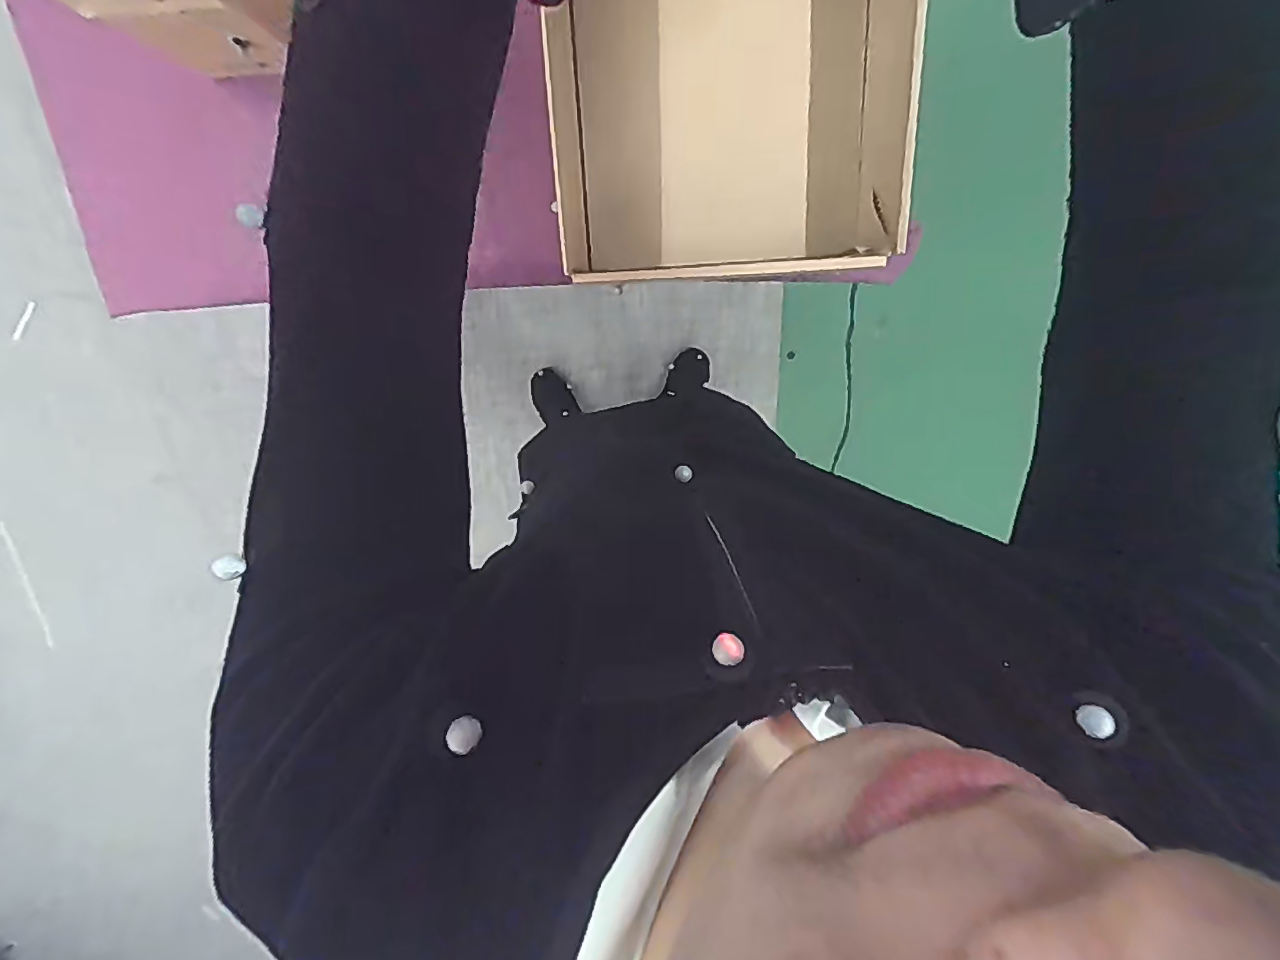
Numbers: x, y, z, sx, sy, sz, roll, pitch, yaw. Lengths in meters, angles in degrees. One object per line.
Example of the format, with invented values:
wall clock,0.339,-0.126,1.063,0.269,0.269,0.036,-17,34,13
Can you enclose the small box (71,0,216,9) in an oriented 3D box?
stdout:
small box,-0.541,-0.575,0.497,0.168,0.176,0.179,-3,106,2

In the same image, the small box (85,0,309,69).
small box,-0.536,-0.626,0.650,0.168,0.176,0.179,-2,107,2

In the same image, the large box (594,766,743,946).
large box,0.095,1.310,1.905,0.408,0.320,0.320,-34,104,10
